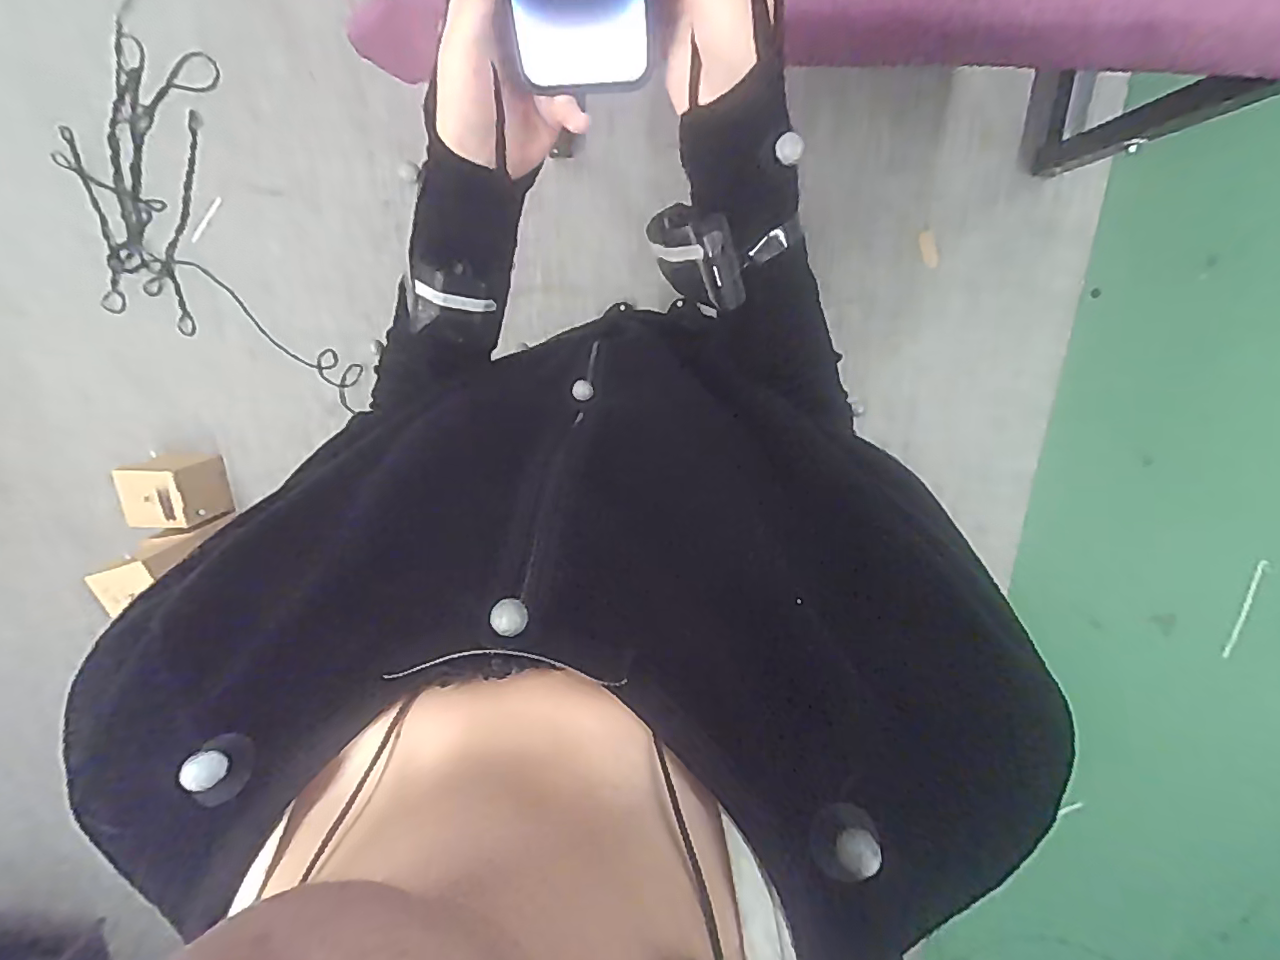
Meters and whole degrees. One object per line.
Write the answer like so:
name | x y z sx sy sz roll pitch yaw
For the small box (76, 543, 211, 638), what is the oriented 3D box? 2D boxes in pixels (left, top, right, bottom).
small box | -1.283 0.282 1.419 0.179 0.176 0.168 -15 106 8
